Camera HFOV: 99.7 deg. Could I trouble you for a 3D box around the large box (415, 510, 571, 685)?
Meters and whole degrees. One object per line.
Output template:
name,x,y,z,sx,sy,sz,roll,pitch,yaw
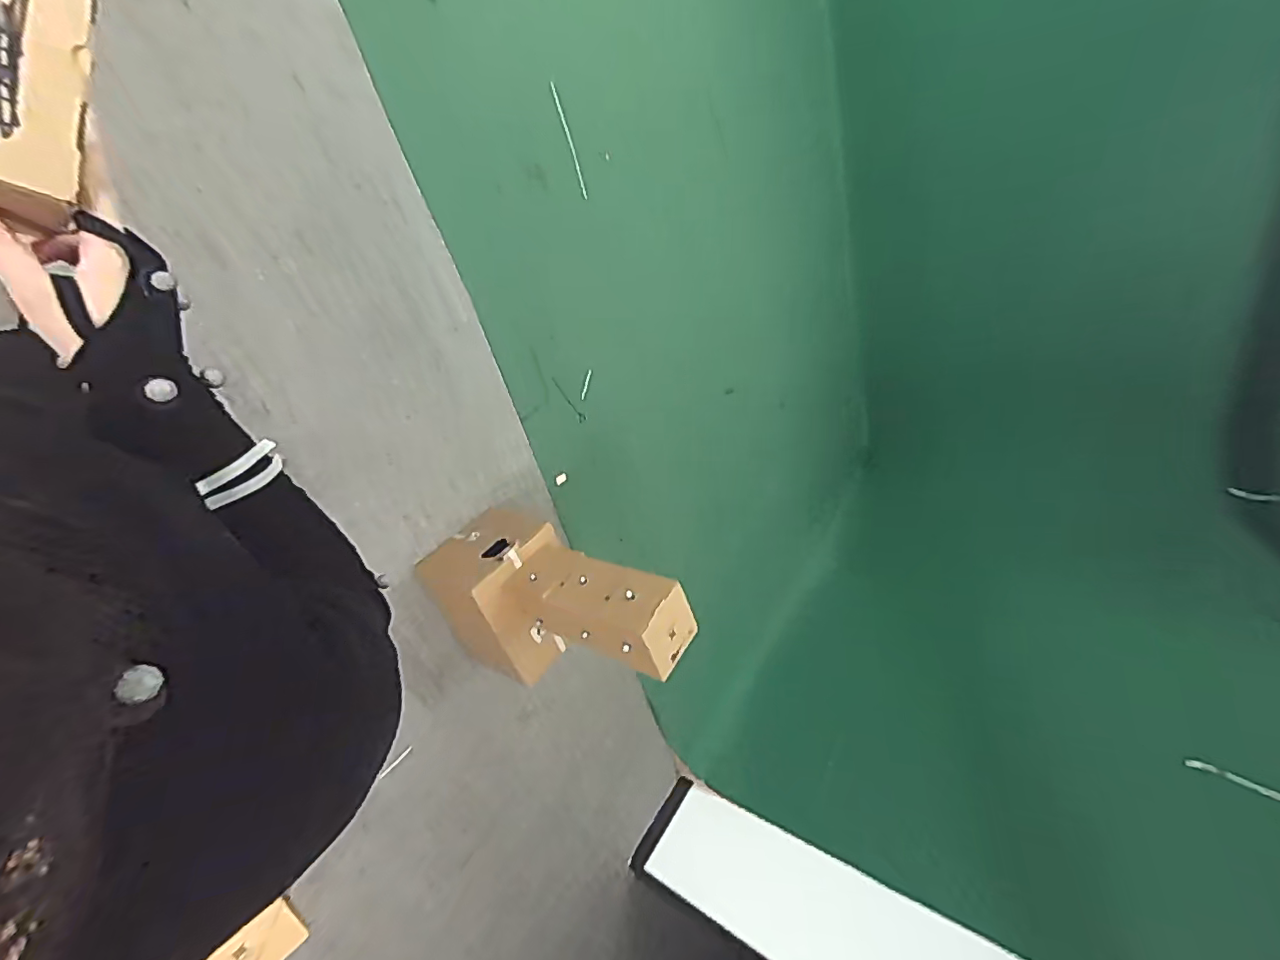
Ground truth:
large box,-0.421,0.355,1.703,0.320,0.320,0.408,-43,127,-37

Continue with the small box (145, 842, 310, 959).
small box,-0.755,0.811,0.990,0.168,0.176,0.179,-36,124,-41

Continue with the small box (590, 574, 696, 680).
small box,0.006,0.347,1.316,0.168,0.176,0.179,-47,128,-35

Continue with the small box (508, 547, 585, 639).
small box,-0.246,0.311,1.523,0.179,0.176,0.168,-46,128,-38

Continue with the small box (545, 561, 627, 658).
small box,-0.119,0.332,1.423,0.168,0.176,0.179,-48,130,-34
